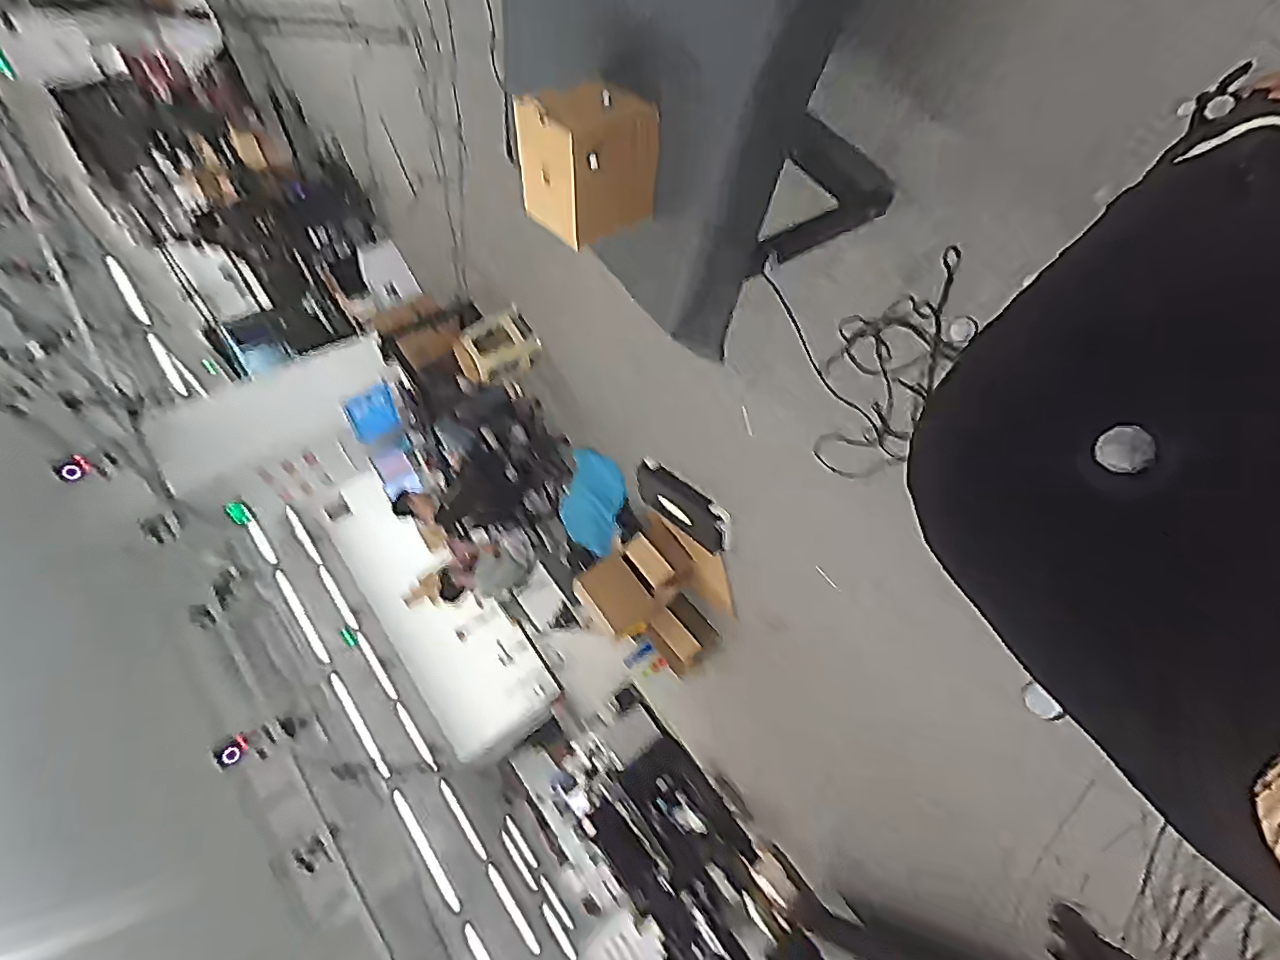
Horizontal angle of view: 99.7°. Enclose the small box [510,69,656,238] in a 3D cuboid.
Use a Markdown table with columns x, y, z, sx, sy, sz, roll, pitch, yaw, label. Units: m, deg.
| x | y | z | sx | sy | sz | roll | pitch | yaw | label |
| --- | --- | --- | --- | --- | --- | --- | --- | --- | --- |
| -0.089 | -0.539 | 0.889 | 0.168 | 0.176 | 0.179 | 46 | 152 | 27 | small box |
